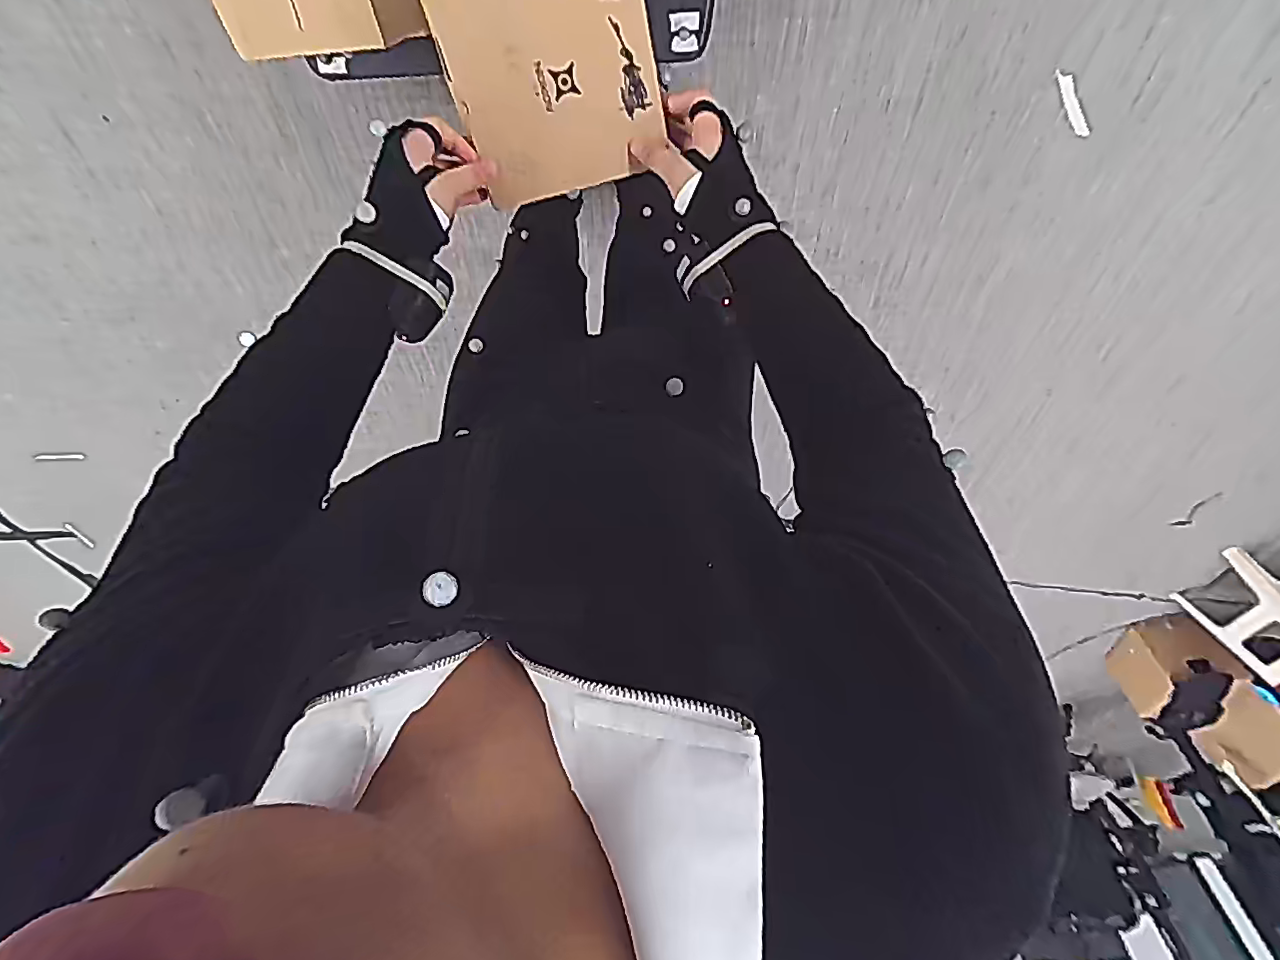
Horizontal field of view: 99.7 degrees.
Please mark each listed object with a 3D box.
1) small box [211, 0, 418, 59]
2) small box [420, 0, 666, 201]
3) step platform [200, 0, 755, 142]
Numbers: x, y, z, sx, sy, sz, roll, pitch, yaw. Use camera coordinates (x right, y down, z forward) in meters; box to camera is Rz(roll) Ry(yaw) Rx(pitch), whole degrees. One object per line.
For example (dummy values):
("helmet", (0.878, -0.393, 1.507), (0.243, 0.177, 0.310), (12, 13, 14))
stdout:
("small box", (-0.365, -0.584, 0.586), (0.168, 0.176, 0.179), (-4, 136, 1))
("small box", (-0.077, -0.386, 0.521), (0.179, 0.176, 0.168), (-11, 125, 6))
("step platform", (-0.201, -0.647, 0.714), (0.684, 0.204, 0.286), (-3, 135, 0))
